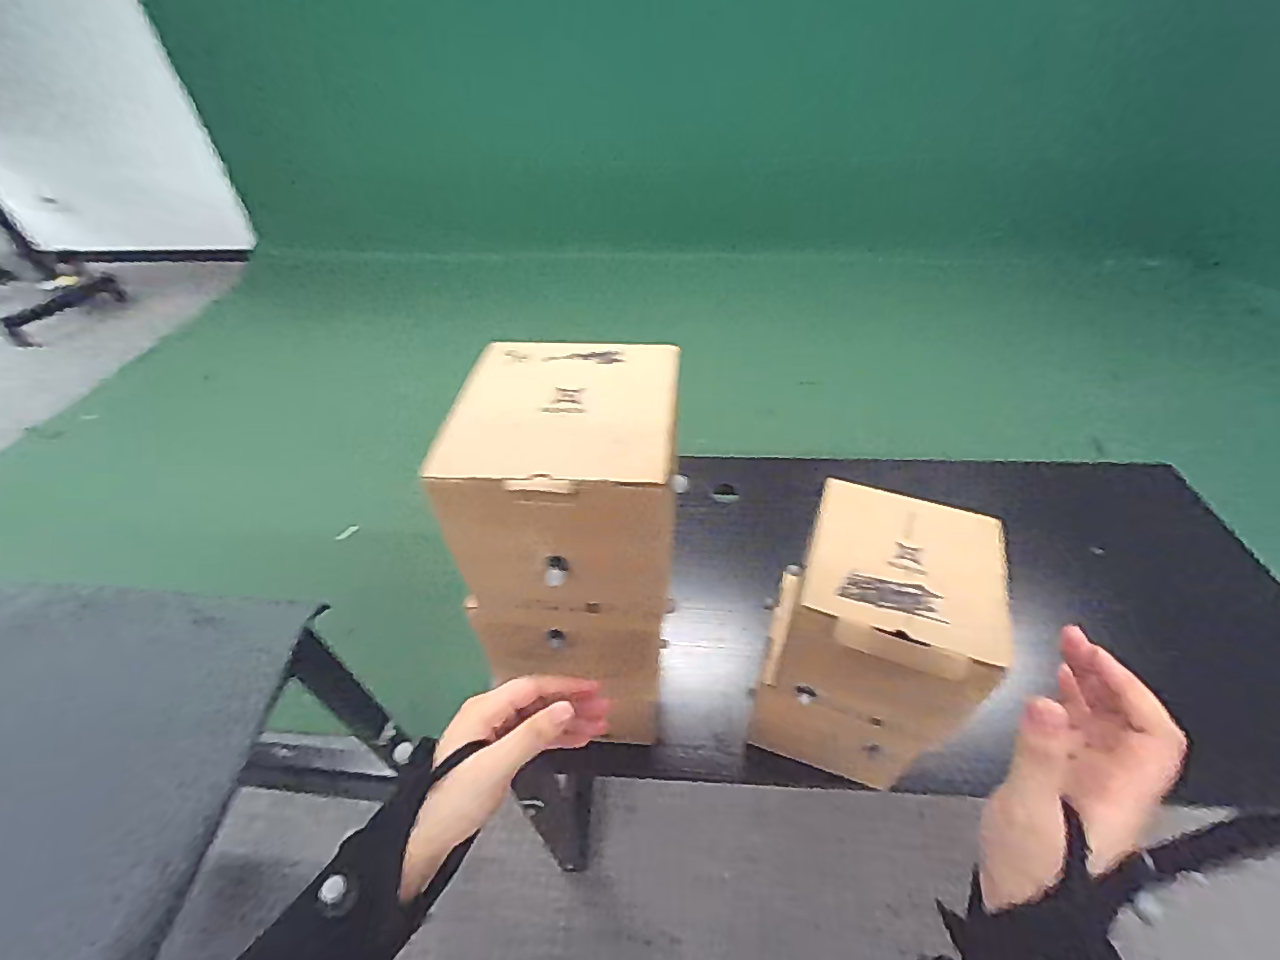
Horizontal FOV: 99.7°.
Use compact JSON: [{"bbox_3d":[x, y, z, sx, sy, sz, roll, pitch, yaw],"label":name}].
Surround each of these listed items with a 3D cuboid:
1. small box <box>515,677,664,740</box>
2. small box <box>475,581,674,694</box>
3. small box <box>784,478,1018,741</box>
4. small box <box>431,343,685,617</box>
[{"bbox_3d":[-0.051,0.220,0.708,0.168,0.176,0.179,2,44,4],"label":"small box"},{"bbox_3d":[-0.051,0.116,0.583,0.179,0.176,0.168,1,45,4],"label":"small box"},{"bbox_3d":[0.252,0.131,0.551,0.168,0.176,0.179,15,46,17],"label":"small box"},{"bbox_3d":[-0.047,0.000,0.466,0.168,0.176,0.179,2,46,6],"label":"small box"}]
